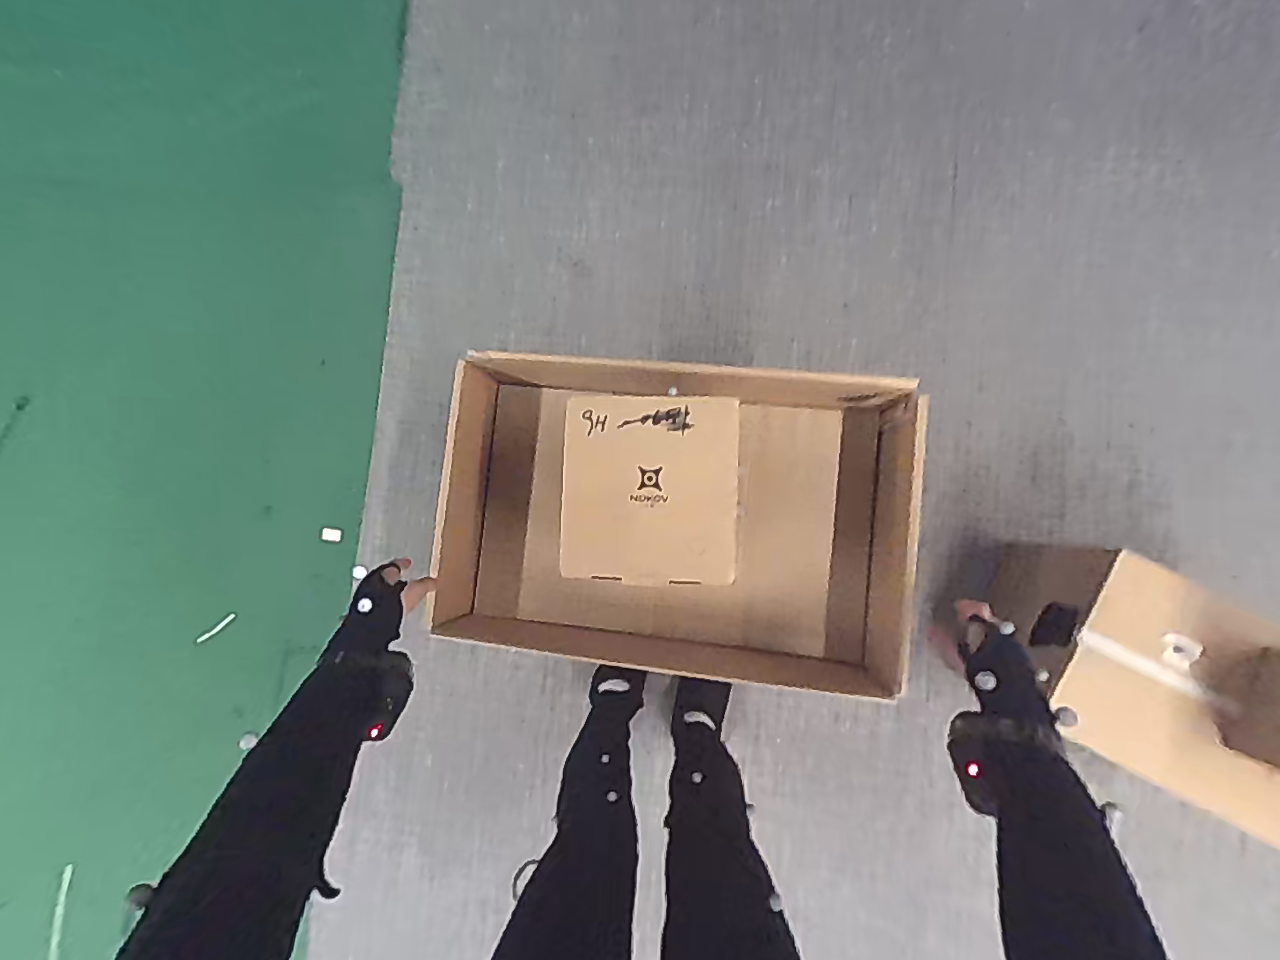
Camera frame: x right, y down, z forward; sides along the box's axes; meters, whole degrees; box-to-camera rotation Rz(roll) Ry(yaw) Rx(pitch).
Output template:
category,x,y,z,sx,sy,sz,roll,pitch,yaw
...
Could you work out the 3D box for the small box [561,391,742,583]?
category,x,y,z,sx,sy,sz,roll,pitch,yaw
small box,0.019,0.008,0.582,0.168,0.176,0.179,2,87,6
